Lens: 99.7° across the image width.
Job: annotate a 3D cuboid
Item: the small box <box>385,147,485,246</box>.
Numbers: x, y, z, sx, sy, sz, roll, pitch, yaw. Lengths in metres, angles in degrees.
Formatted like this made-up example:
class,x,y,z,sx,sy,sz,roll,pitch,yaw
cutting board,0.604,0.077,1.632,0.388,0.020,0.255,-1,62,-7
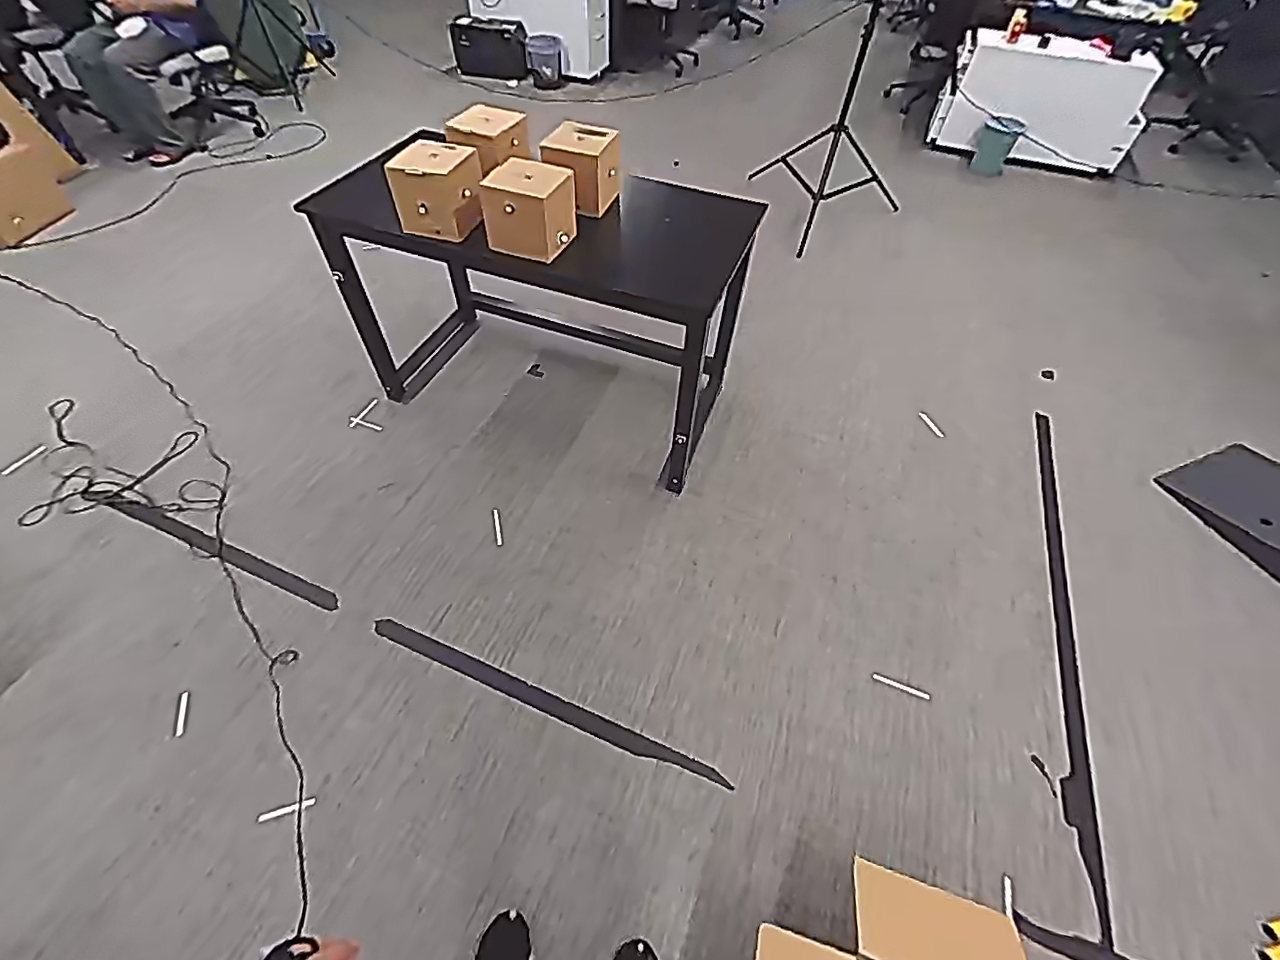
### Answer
class,x,y,z,sx,sy,sz,roll,pitch,yaw
small box,-0.523,-0.739,1.414,0.168,0.176,0.179,13,52,8

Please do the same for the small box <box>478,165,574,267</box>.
class,x,y,z,sx,sy,sz,roll,pitch,yaw
small box,-0.280,-0.667,1.371,0.179,0.176,0.168,18,53,10

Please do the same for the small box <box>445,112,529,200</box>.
class,x,y,z,sx,sy,sz,roll,pitch,yaw
small box,-0.435,-0.936,1.577,0.168,0.176,0.179,19,54,12
